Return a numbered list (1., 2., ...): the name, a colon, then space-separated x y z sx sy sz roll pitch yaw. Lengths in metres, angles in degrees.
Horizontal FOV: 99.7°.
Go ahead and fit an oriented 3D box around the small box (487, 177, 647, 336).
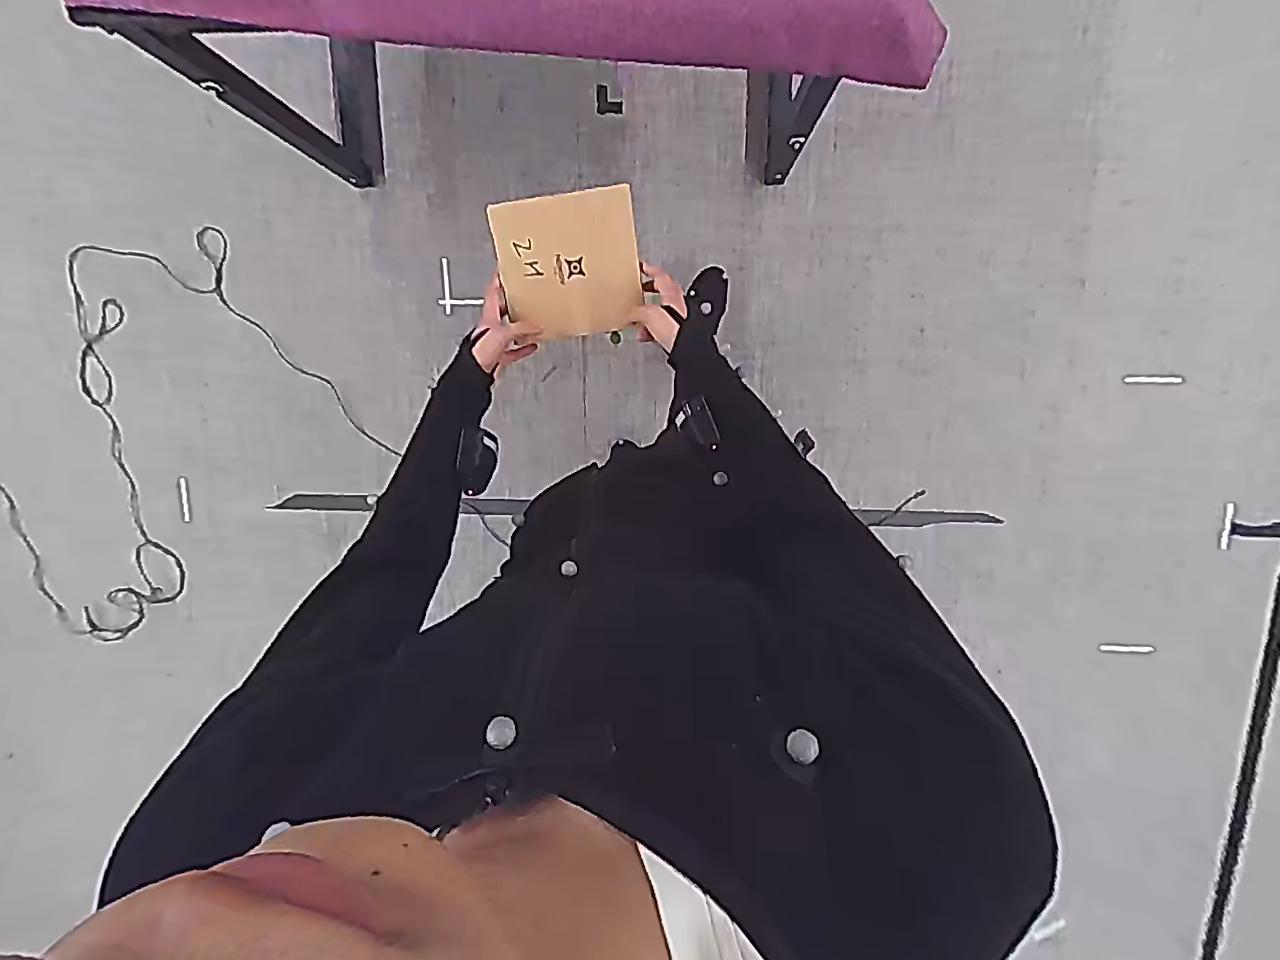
1. small box: -0.086 -0.295 0.737 0.179 0.176 0.168 -7 108 4
